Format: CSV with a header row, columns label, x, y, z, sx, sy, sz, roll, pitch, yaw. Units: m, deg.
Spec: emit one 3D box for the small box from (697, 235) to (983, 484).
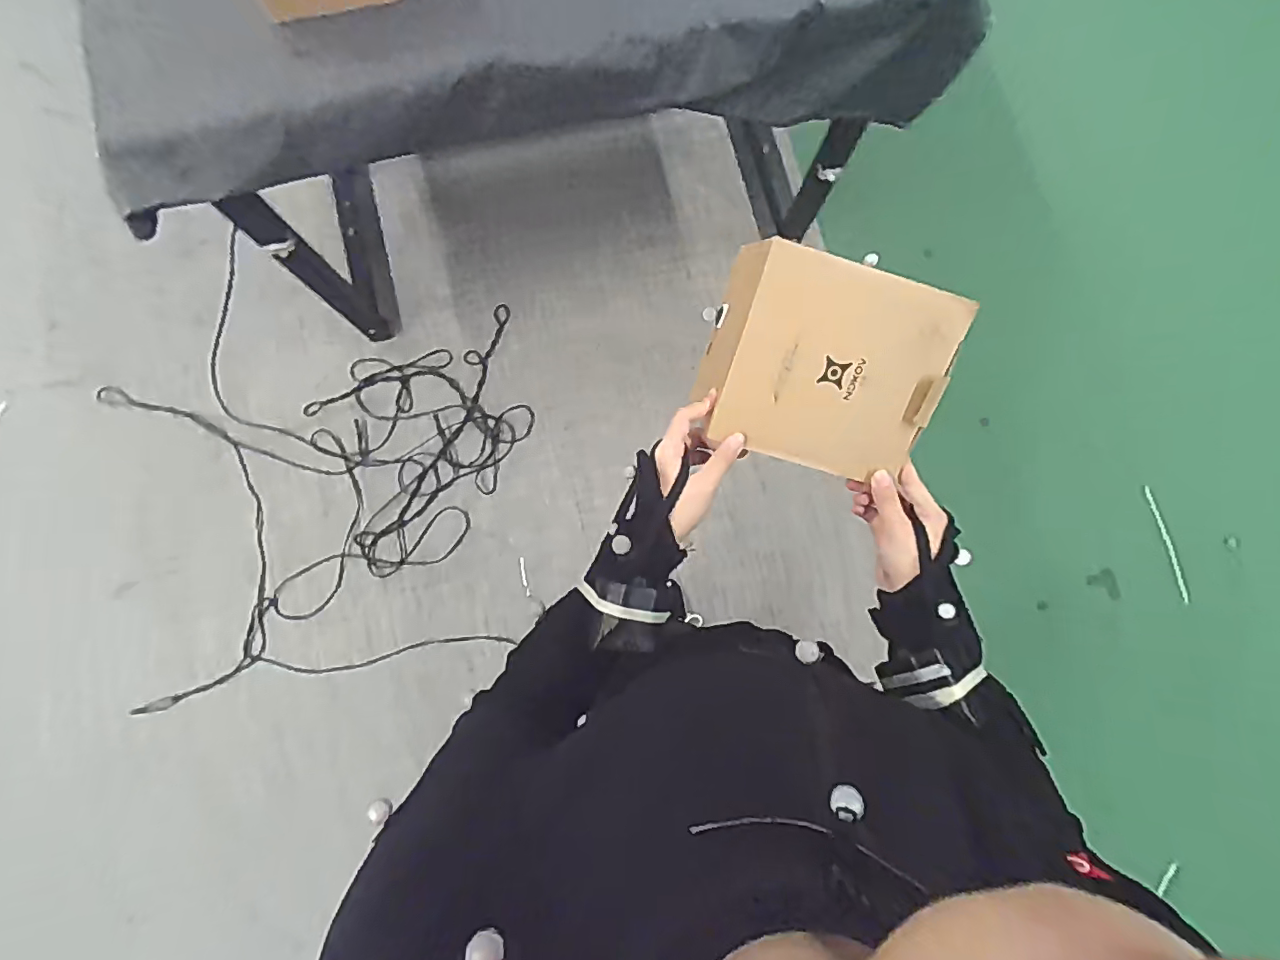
label,x,y,z,sx,sy,sz,roll,pitch,yaw
small box,0.163,-0.117,0.511,0.179,0.176,0.168,15,109,-4
